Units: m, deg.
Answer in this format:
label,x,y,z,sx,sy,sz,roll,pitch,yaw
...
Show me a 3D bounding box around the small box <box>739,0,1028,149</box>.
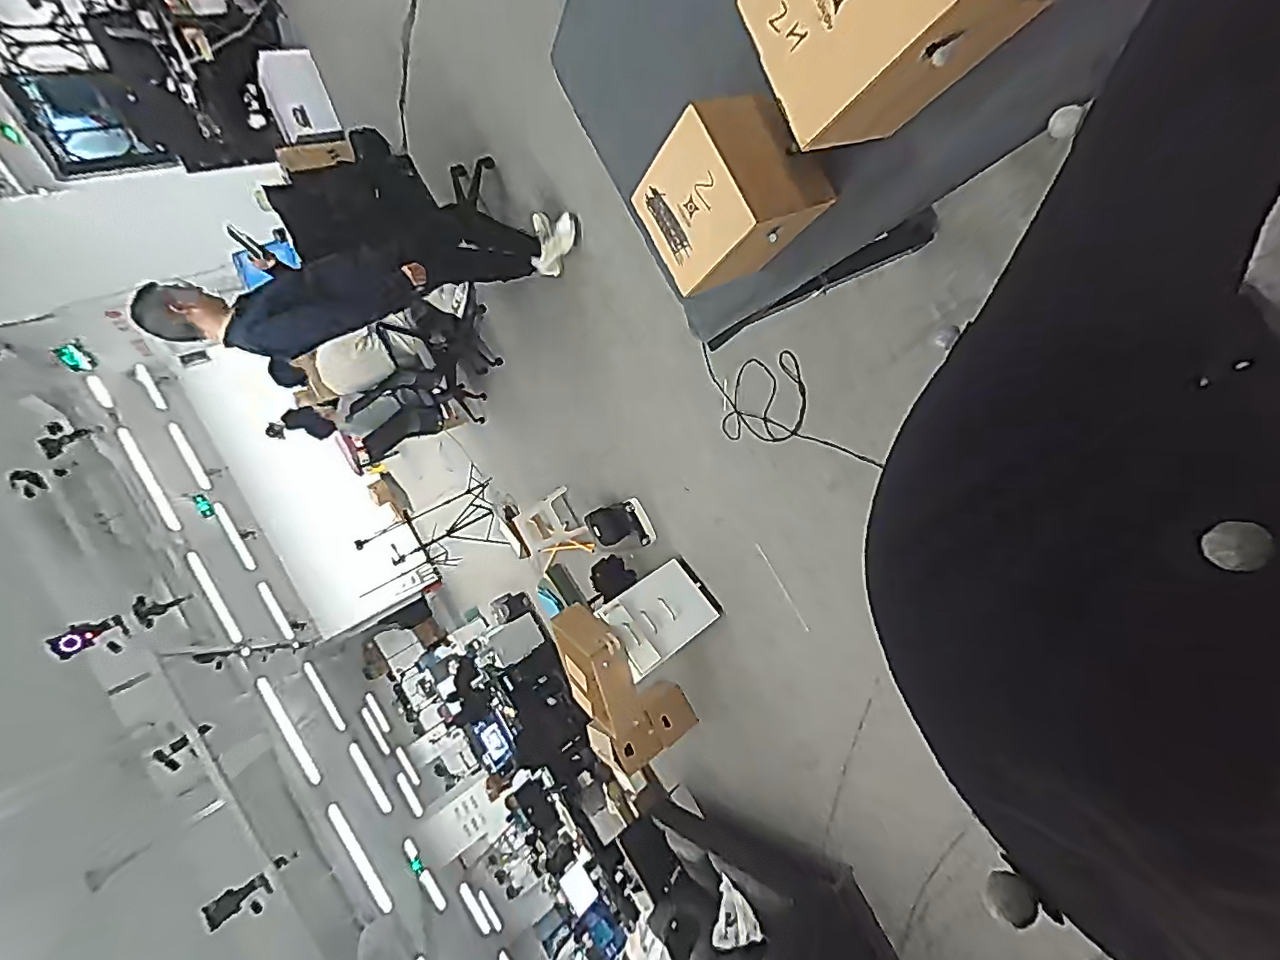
label,x,y,z,sx,sy,sz,roll,pitch,yaw
small box,0.236,-0.461,0.520,0.179,0.176,0.168,-17,99,62
